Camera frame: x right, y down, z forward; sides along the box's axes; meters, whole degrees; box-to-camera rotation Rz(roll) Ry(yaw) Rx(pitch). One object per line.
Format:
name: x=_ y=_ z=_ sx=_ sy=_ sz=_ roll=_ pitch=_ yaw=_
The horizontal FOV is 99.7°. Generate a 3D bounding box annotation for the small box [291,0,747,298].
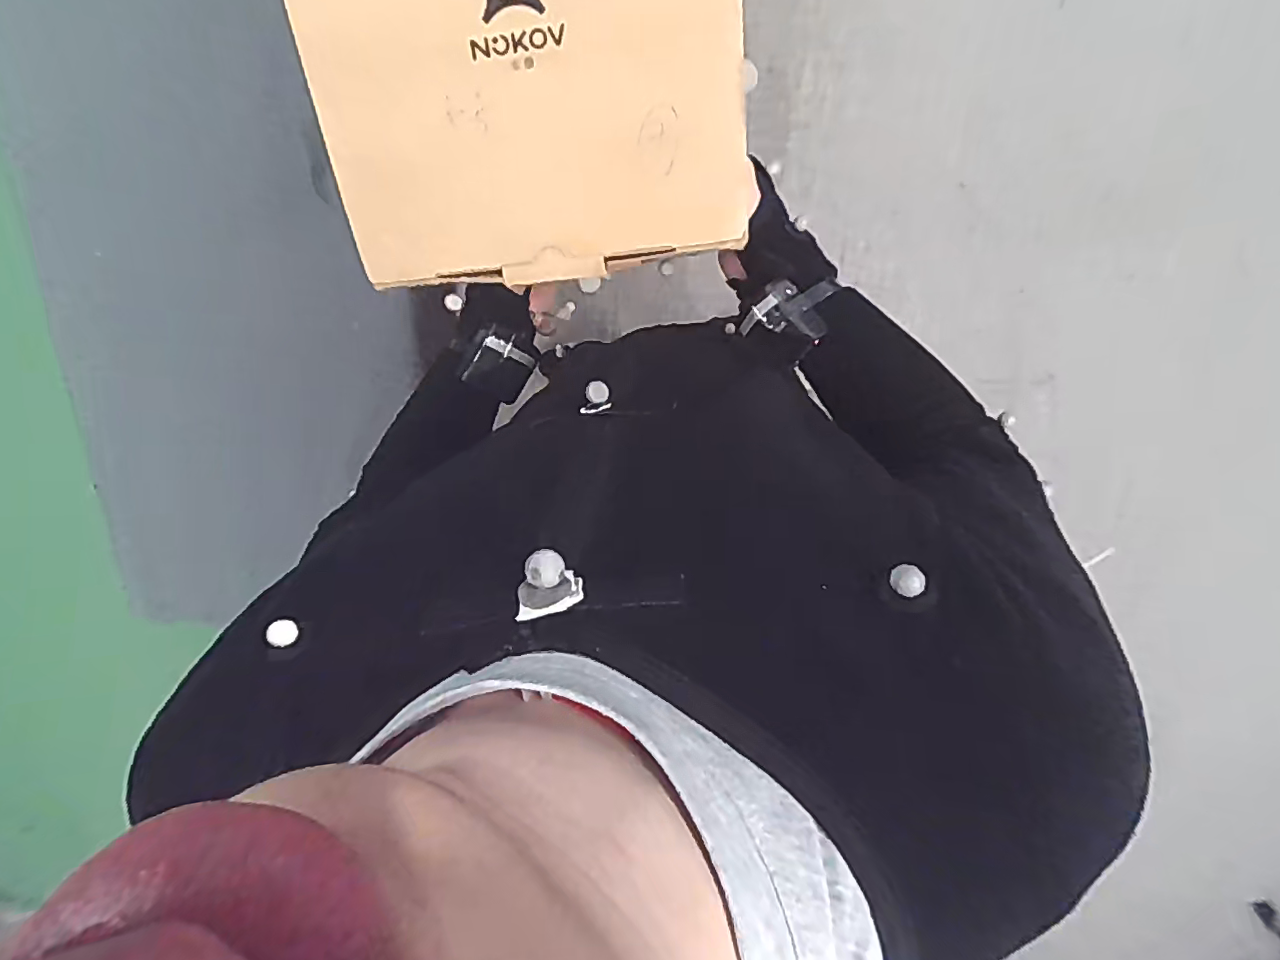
small box: x=-0.037 y=-0.198 z=0.266 sx=0.168 sy=0.176 sz=0.179 roll=-4 pitch=115 yaw=6
